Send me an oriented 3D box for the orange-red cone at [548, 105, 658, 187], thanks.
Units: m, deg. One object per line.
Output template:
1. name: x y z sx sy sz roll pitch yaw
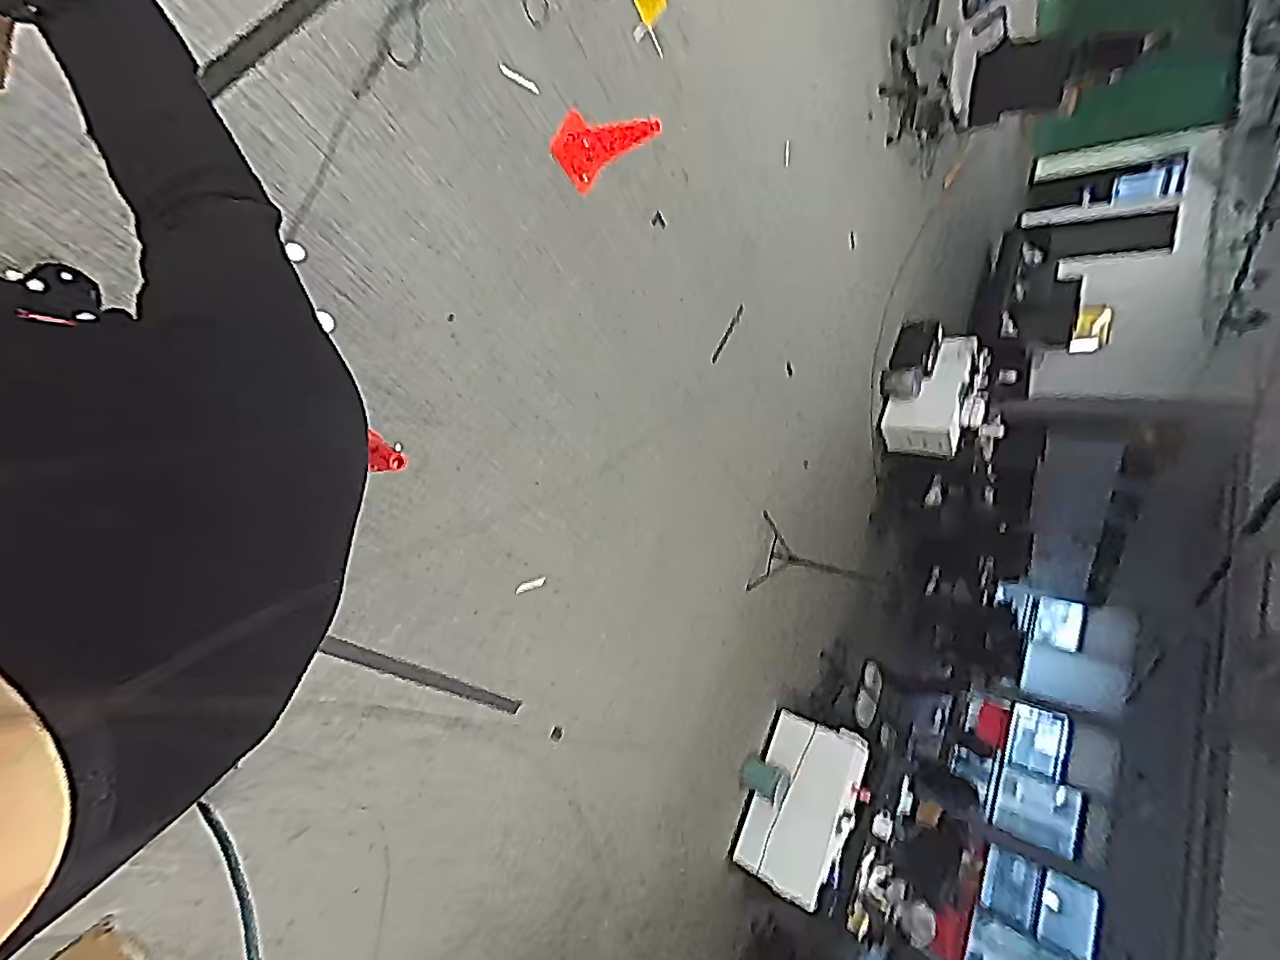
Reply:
1. orange-red cone: -0.093 -1.134 1.770 0.198 0.360 0.199 44 63 -47
